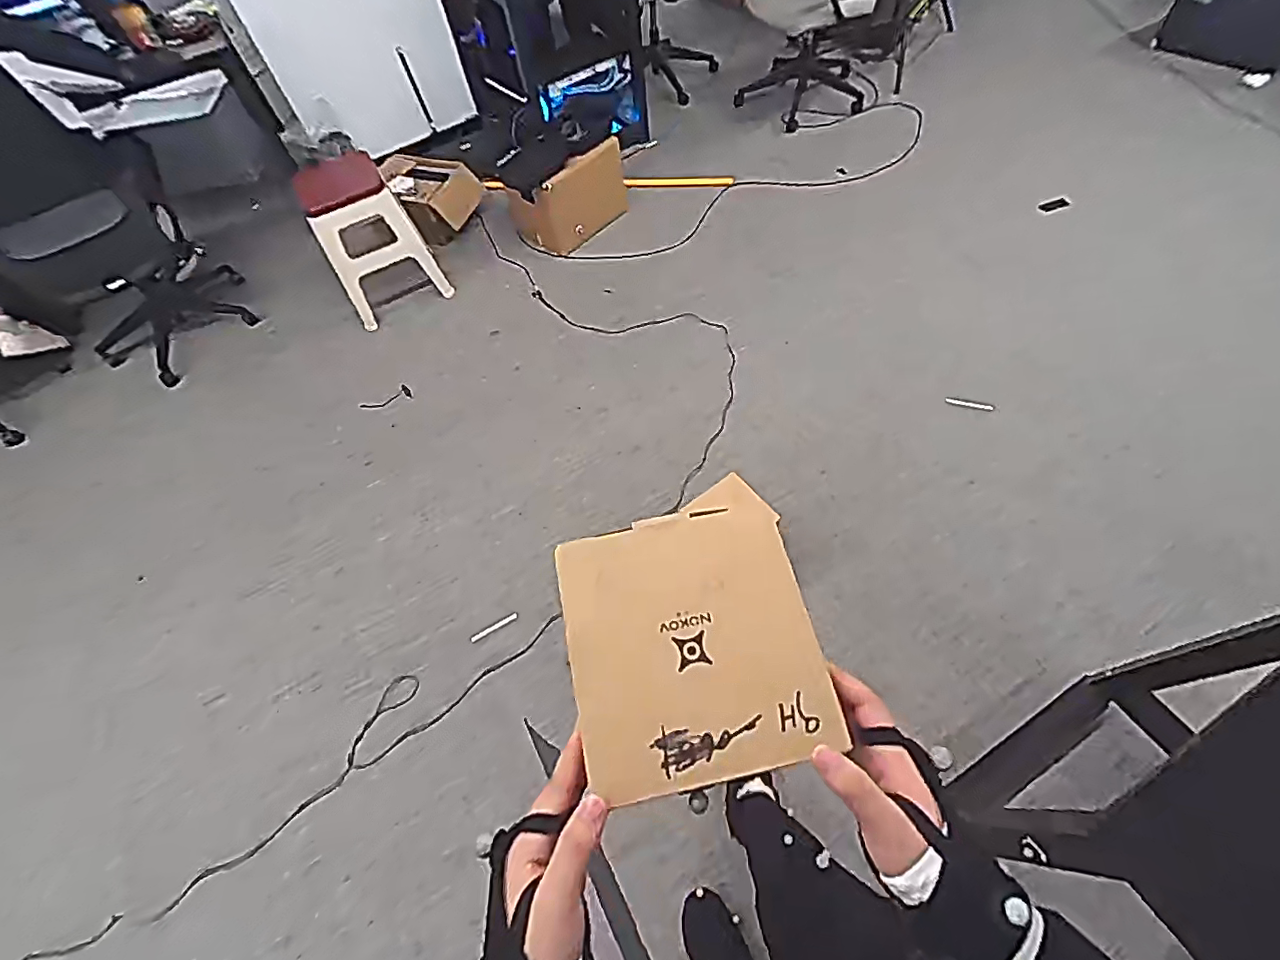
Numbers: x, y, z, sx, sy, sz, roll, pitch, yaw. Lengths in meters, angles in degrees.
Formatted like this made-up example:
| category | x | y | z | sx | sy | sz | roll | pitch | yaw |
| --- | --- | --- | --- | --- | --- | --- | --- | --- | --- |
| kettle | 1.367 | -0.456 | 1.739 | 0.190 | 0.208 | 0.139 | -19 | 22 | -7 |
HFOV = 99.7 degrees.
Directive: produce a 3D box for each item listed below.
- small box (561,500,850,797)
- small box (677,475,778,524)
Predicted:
| category | x | y | z | sx | sy | sz | roll | pitch | yaw |
| --- | --- | --- | --- | --- | --- | --- | --- | --- | --- |
| small box | 0.037 | 0.141 | 0.439 | 0.168 | 0.176 | 0.179 | -12 | 62 | -4 |
| small box | 0.209 | 0.129 | 1.316 | 0.179 | 0.176 | 0.168 | -35 | 62 | -15 |
